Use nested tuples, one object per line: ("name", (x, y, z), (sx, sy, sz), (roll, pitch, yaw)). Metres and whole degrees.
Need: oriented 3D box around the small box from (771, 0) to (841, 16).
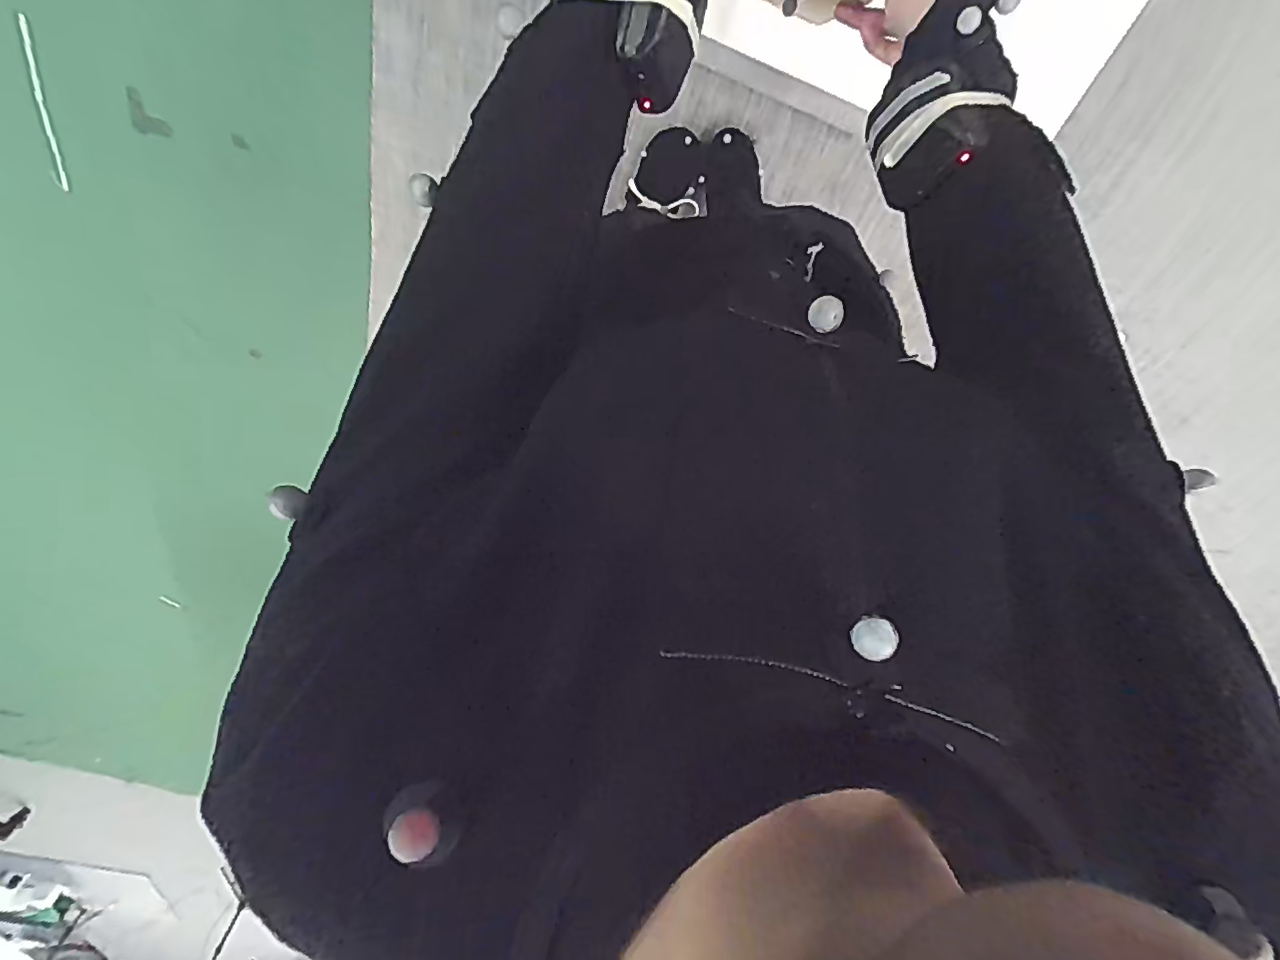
("small box", (0.115, -0.472, 0.383), (0.168, 0.176, 0.179), (16, 124, -10))
